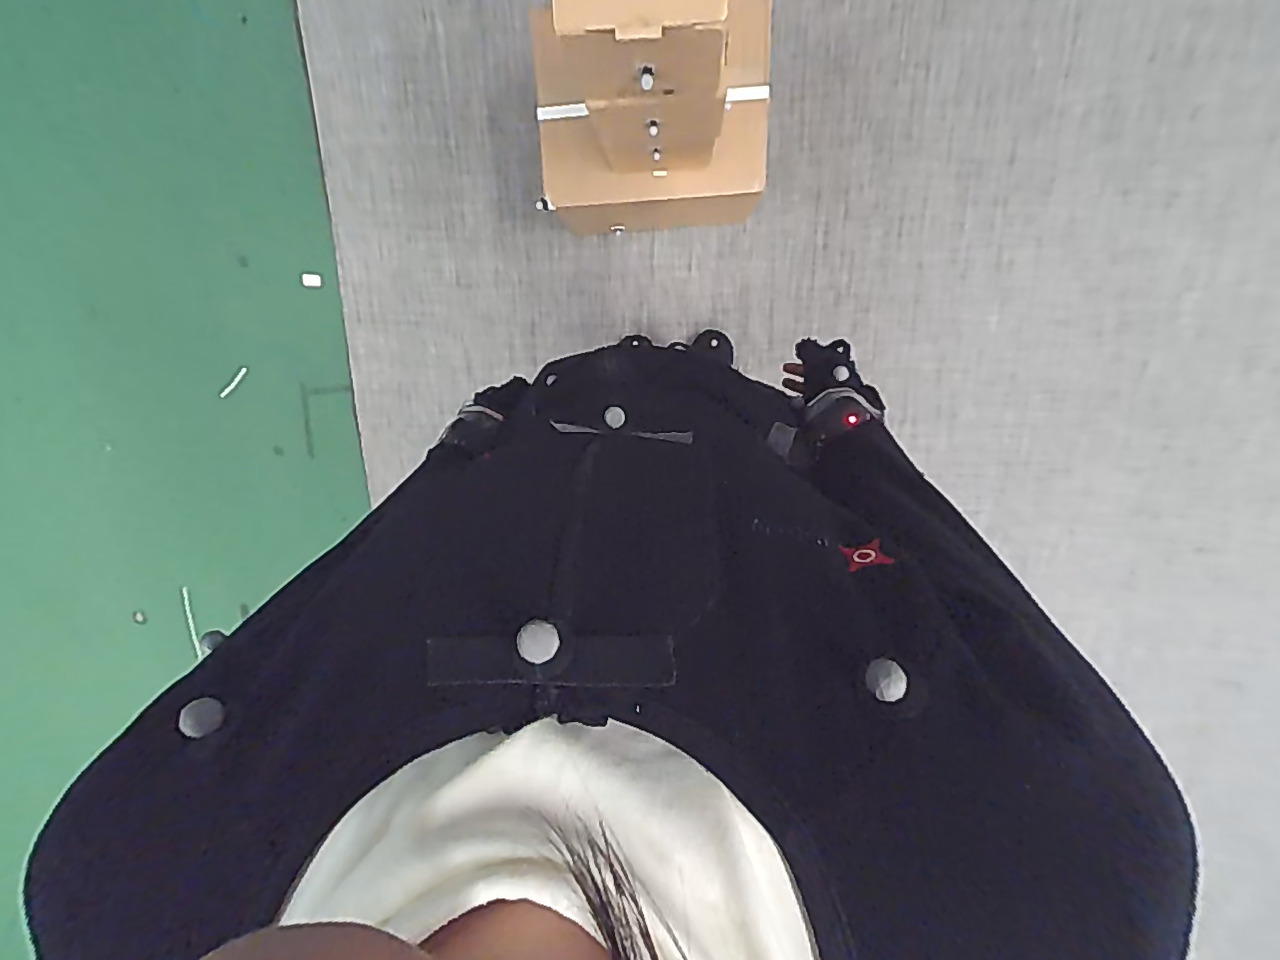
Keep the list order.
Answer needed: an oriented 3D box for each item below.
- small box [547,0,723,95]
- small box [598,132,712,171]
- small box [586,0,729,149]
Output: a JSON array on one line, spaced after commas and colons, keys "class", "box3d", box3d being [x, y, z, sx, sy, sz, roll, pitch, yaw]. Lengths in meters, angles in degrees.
[{"class": "small box", "box3d": [0.004, -0.524, 0.559, 0.168, 0.176, 0.179, 3, 107, 5]}, {"class": "small box", "box3d": [0.029, -0.613, 0.873, 0.179, 0.176, 0.168, 0, 107, 4]}, {"class": "small box", "box3d": [0.021, -0.561, 0.718, 0.179, 0.176, 0.168, -4, 107, 6]}]
